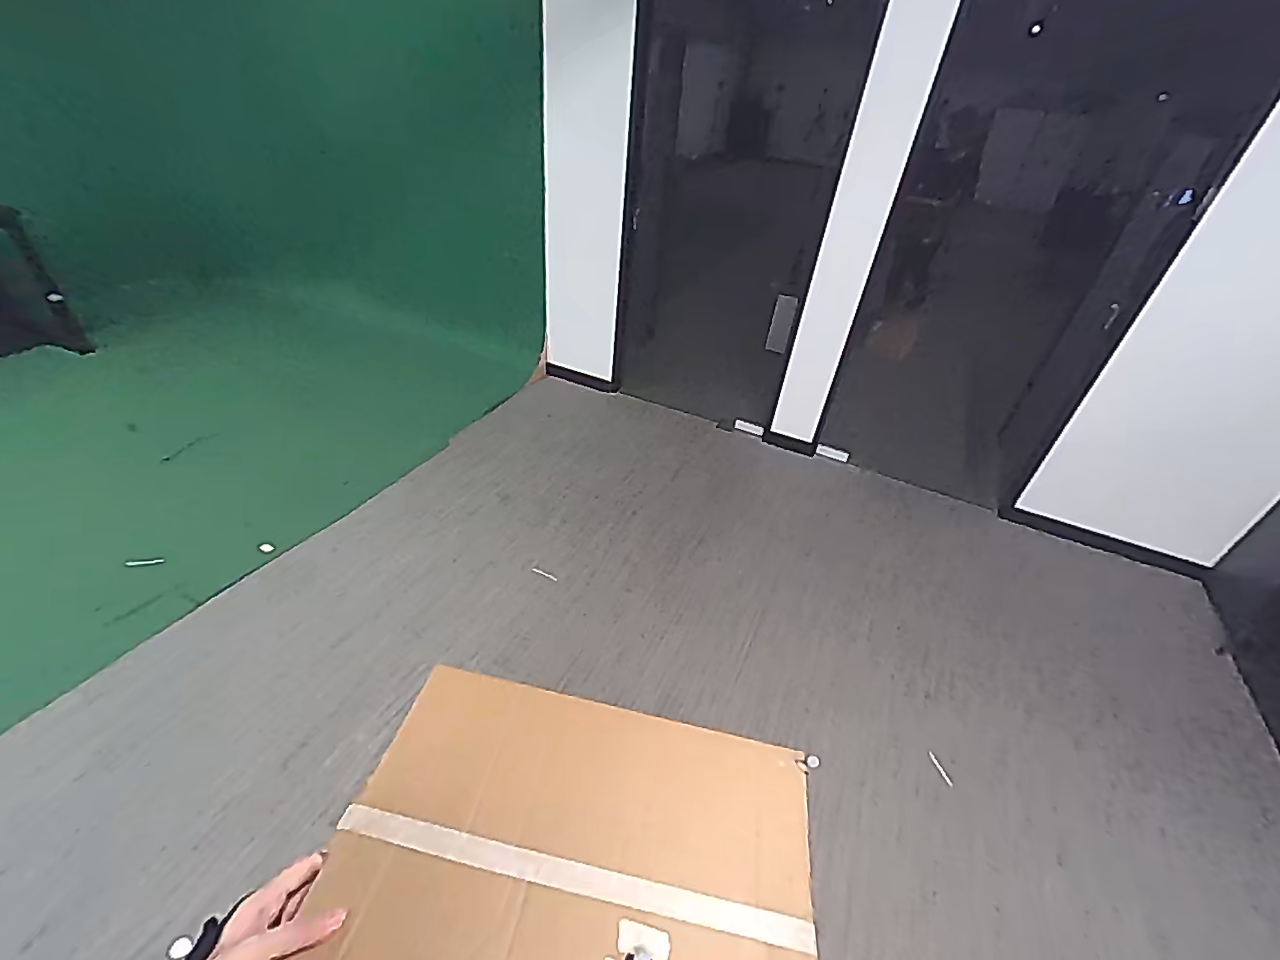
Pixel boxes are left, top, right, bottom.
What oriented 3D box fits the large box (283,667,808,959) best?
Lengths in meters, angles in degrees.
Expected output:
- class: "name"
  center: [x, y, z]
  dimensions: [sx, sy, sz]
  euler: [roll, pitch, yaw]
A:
- class: "large box"
  center: [-0.073, 0.450, 0.558]
  dimensions: [0.408, 0.320, 0.320]
  euler: [12, 39, 4]
